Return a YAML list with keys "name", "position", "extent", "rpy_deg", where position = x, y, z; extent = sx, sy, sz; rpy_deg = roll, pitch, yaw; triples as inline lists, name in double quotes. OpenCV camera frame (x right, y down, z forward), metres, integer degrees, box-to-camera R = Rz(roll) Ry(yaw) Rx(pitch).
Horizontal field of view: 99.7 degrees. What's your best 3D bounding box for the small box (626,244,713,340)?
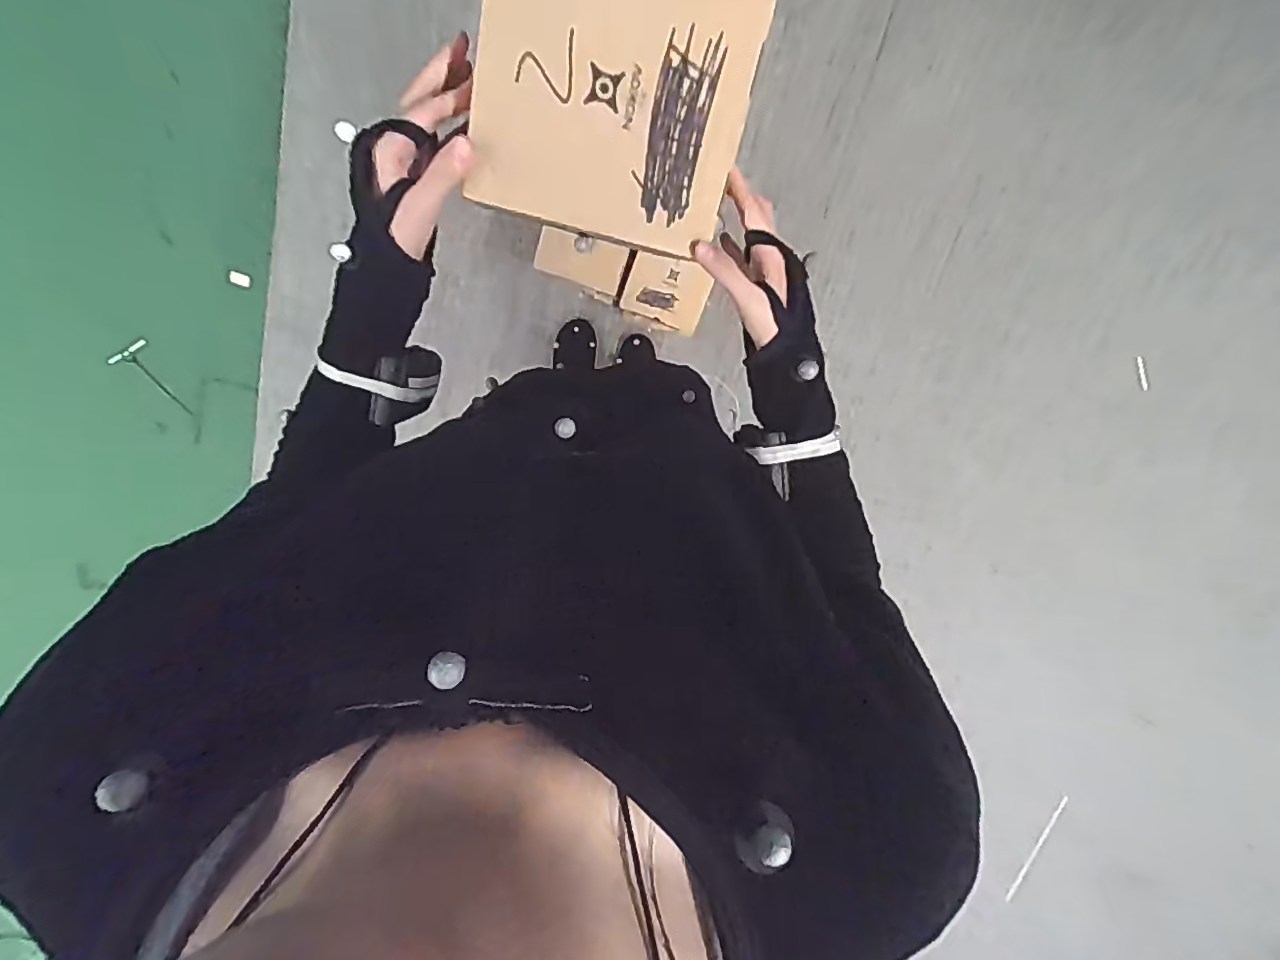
- name: "small box"
  position: [0.066, -0.454, 1.320]
  extent: [0.168, 0.176, 0.179]
  rpy_deg: [15, 106, -4]
